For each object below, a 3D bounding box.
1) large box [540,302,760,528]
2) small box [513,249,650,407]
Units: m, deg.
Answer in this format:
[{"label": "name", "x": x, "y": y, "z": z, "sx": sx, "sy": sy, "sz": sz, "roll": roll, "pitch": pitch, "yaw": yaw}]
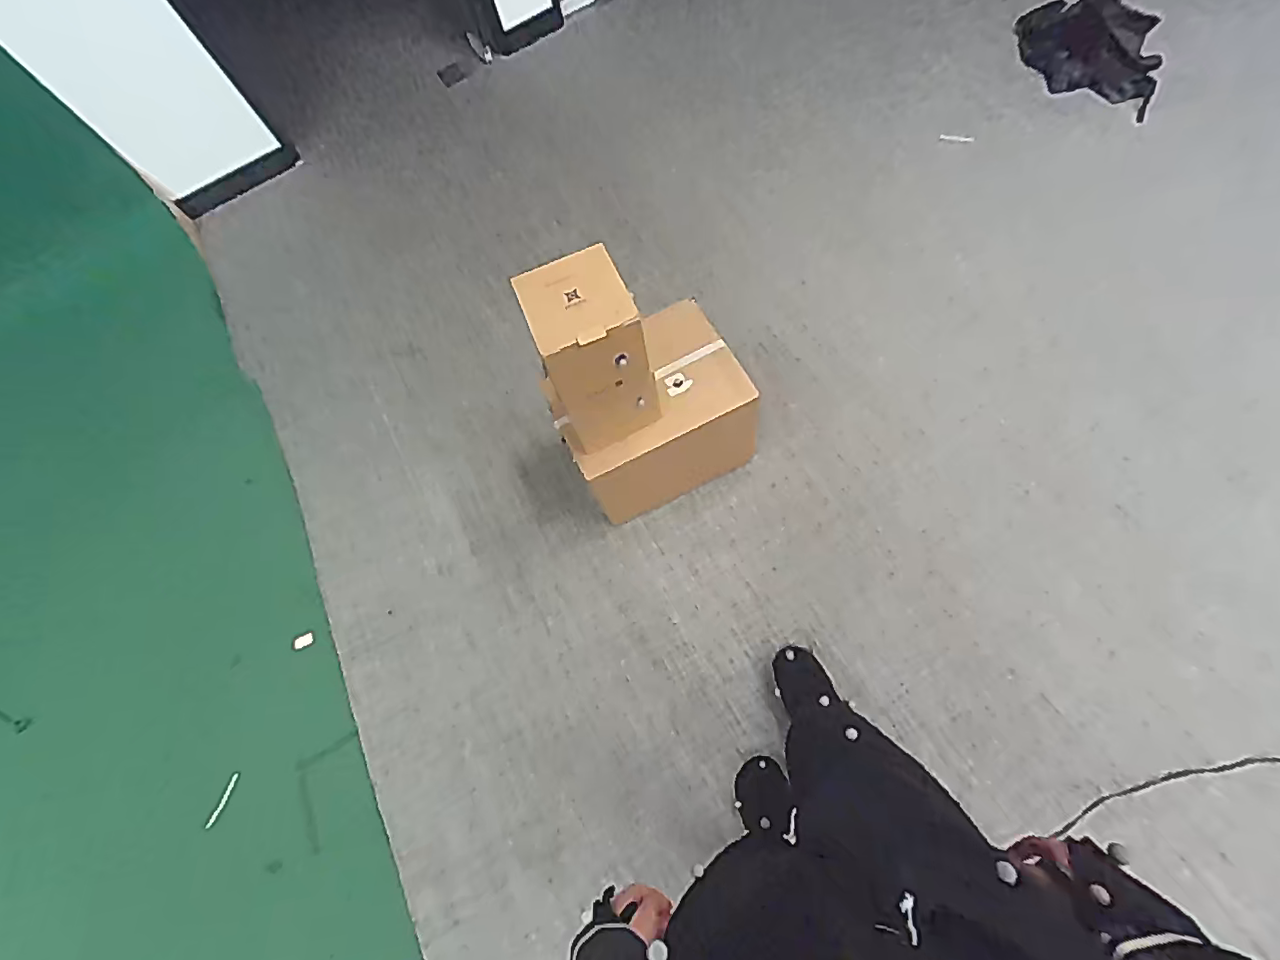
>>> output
[{"label": "large box", "x": 0.029, "y": -0.142, "z": 1.306, "sx": 0.408, "sy": 0.320, "sz": 0.320, "roll": -26, "pitch": 67, "yaw": -4}, {"label": "small box", "x": -0.092, "y": -0.247, "z": 0.922, "sx": 0.168, "sy": 0.176, "sz": 0.179, "roll": -23, "pitch": 65, "yaw": -4}]
